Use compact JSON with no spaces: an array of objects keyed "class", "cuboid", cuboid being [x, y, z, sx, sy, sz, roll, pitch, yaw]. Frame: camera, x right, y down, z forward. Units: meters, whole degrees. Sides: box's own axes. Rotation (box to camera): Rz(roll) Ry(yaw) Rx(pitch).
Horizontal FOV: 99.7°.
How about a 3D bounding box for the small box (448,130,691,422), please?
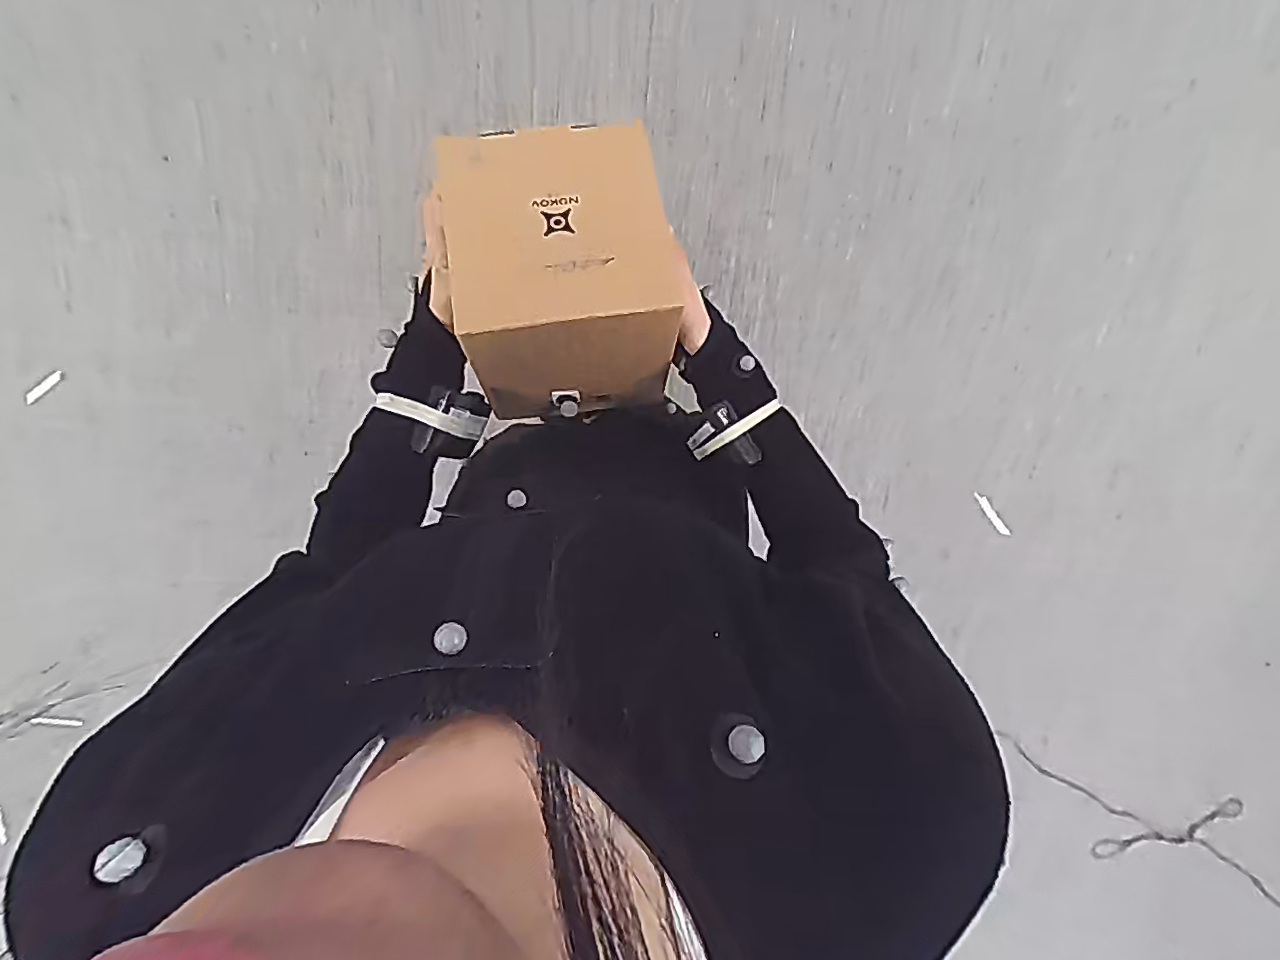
[{"class":"small box","cuboid":[-0.064,-0.171,0.487,0.168,0.176,0.179,-10,75,-7]}]
